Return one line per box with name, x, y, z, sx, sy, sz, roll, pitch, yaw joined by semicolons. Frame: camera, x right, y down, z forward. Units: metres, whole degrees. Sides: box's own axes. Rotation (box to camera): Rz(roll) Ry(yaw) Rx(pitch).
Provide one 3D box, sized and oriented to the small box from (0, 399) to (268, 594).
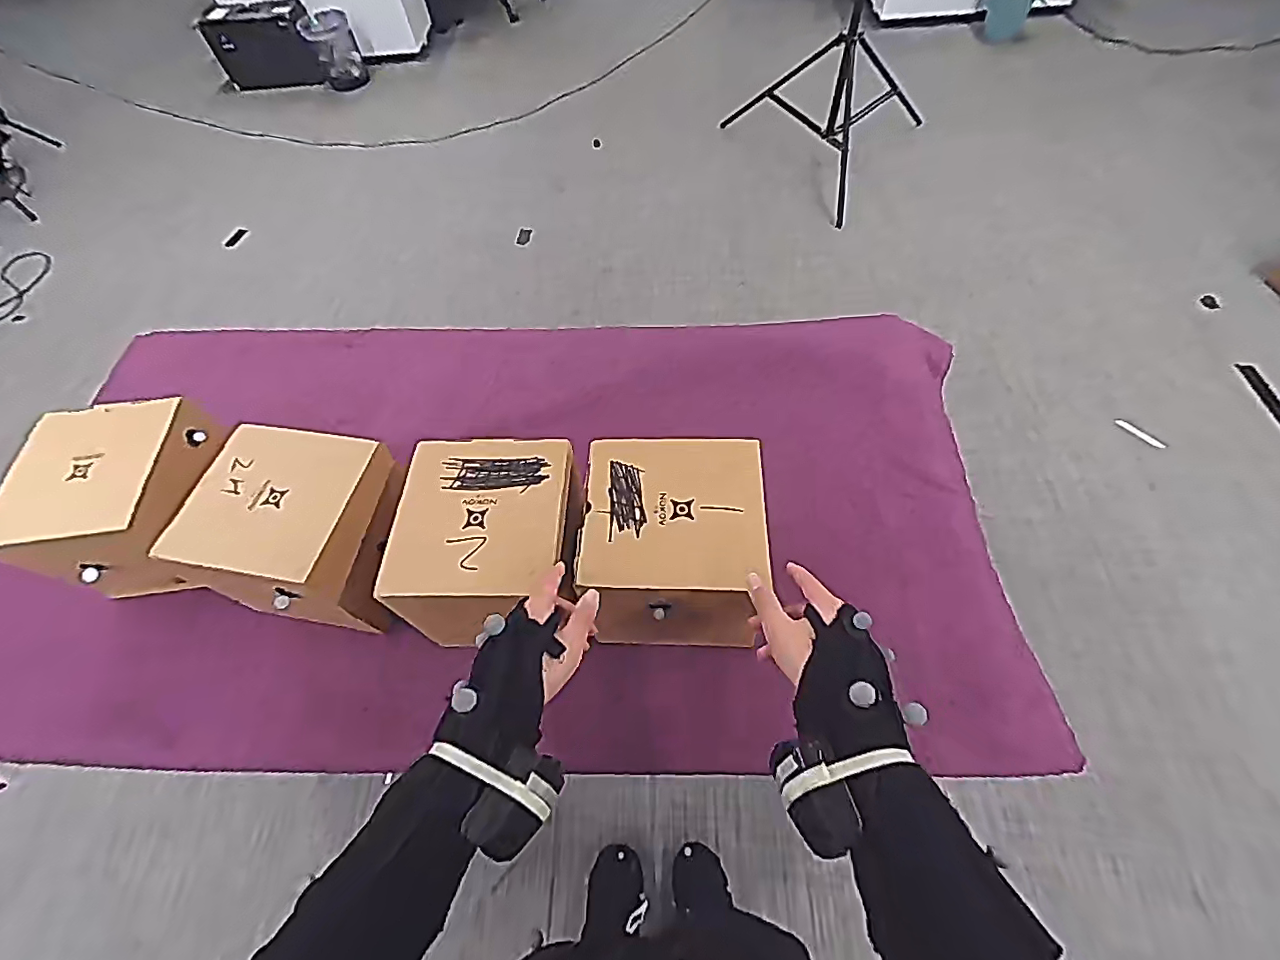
small box;-0.600;0.029;0.661;0.168;0.176;0.179;-8;59;-1
